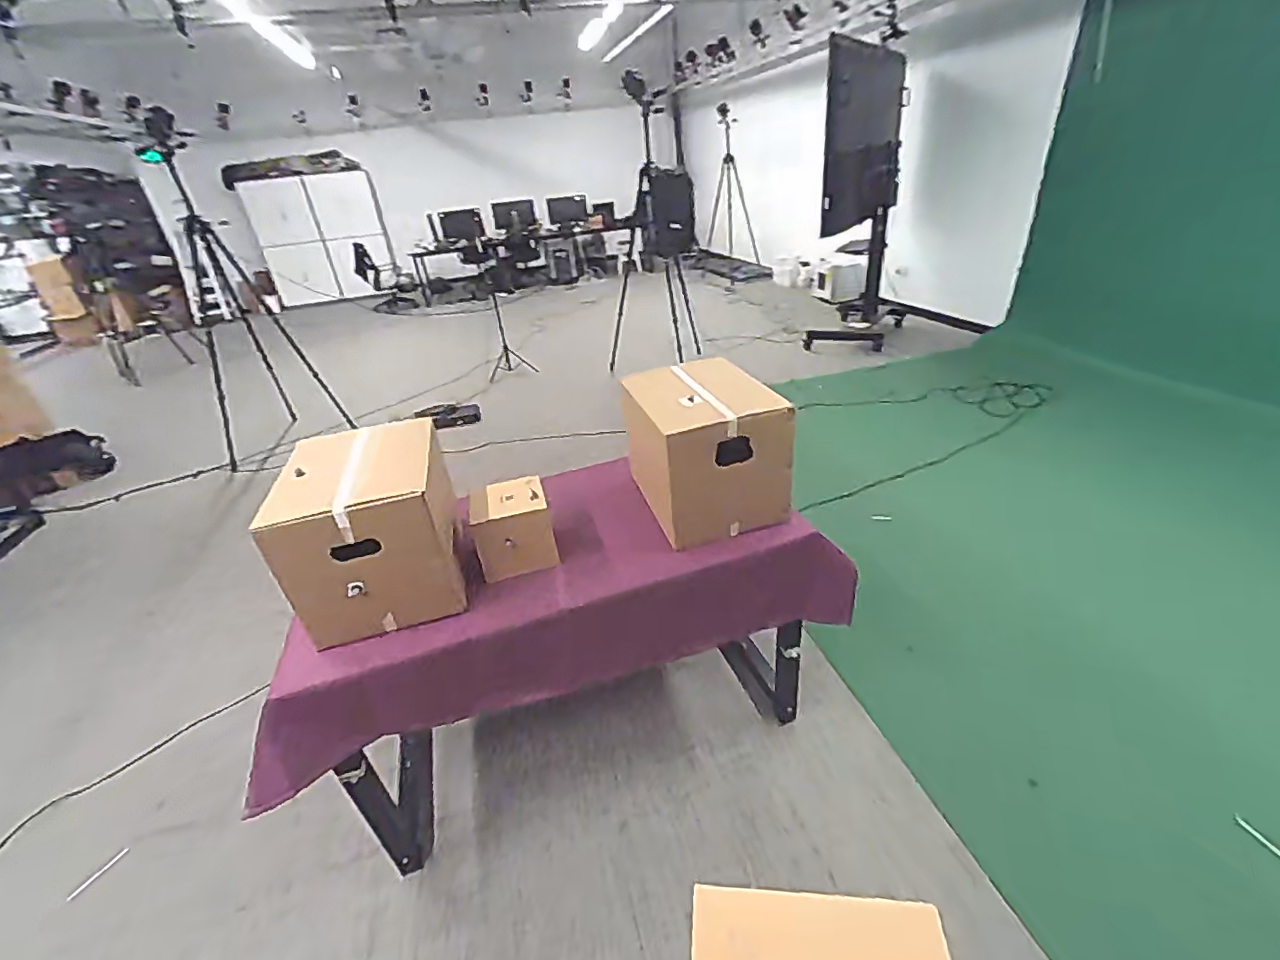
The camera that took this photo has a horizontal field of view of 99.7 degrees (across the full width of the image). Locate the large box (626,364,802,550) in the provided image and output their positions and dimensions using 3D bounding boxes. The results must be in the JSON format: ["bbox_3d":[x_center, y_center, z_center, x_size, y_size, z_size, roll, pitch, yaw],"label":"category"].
[{"bbox_3d":[0.172,-0.078,1.418,0.320,0.320,0.408,-13,31,-11],"label":"large box"}]
